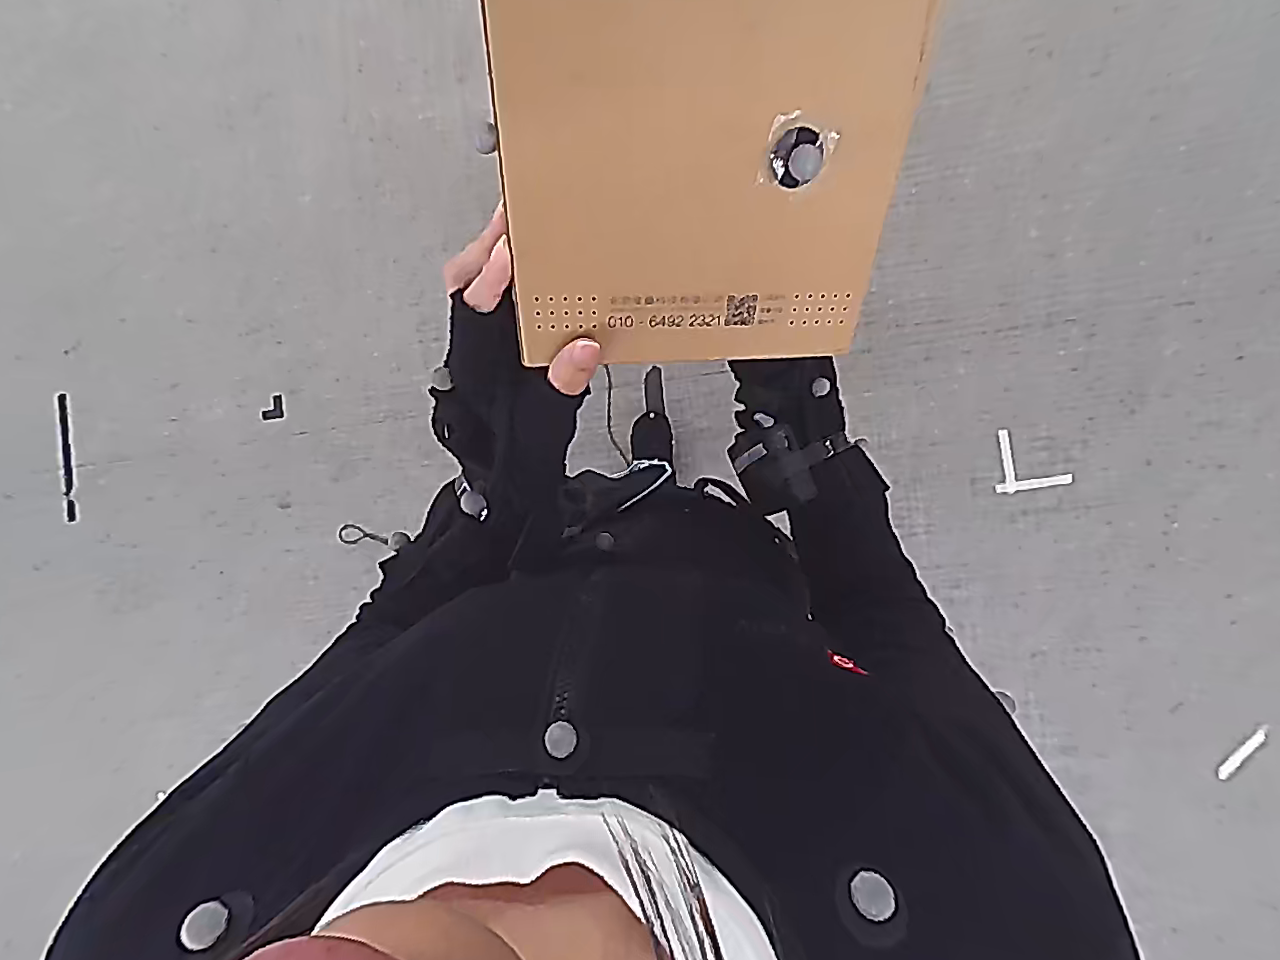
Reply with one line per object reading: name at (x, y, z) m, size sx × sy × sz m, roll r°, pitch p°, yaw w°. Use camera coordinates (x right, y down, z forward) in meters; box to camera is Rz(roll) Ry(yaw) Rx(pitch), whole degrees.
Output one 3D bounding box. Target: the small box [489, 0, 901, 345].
small box at (0.017, -0.184, 0.304) m, size 0.168 × 0.179 × 0.176 m, roll -2°, pitch 128°, yaw -6°
